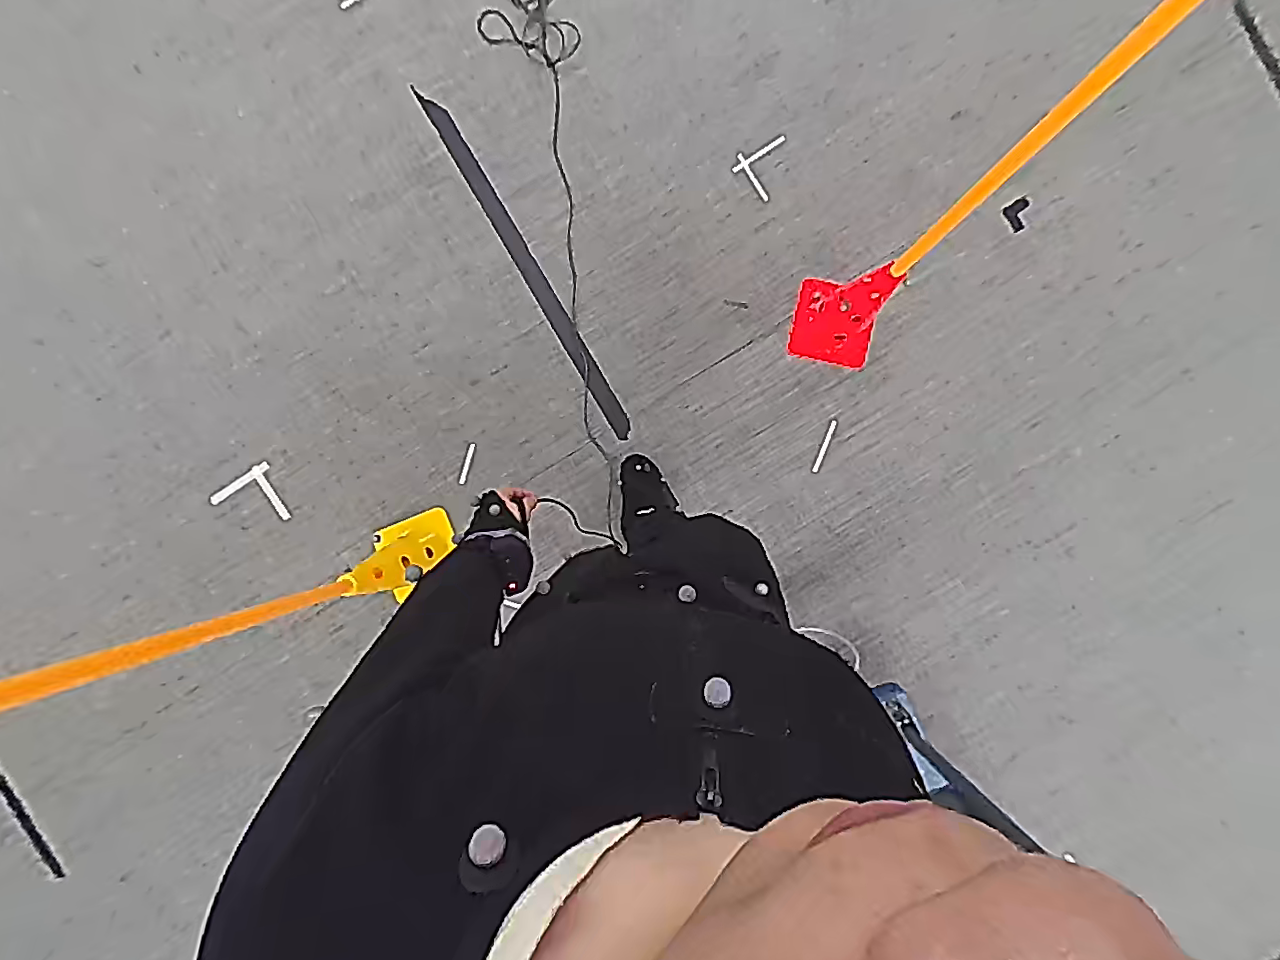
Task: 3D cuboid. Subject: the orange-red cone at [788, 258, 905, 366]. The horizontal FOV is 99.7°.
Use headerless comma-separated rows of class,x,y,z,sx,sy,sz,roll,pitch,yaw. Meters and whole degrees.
orange-red cone,0.477,-0.393,1.173,0.198,0.360,0.199,14,92,1
